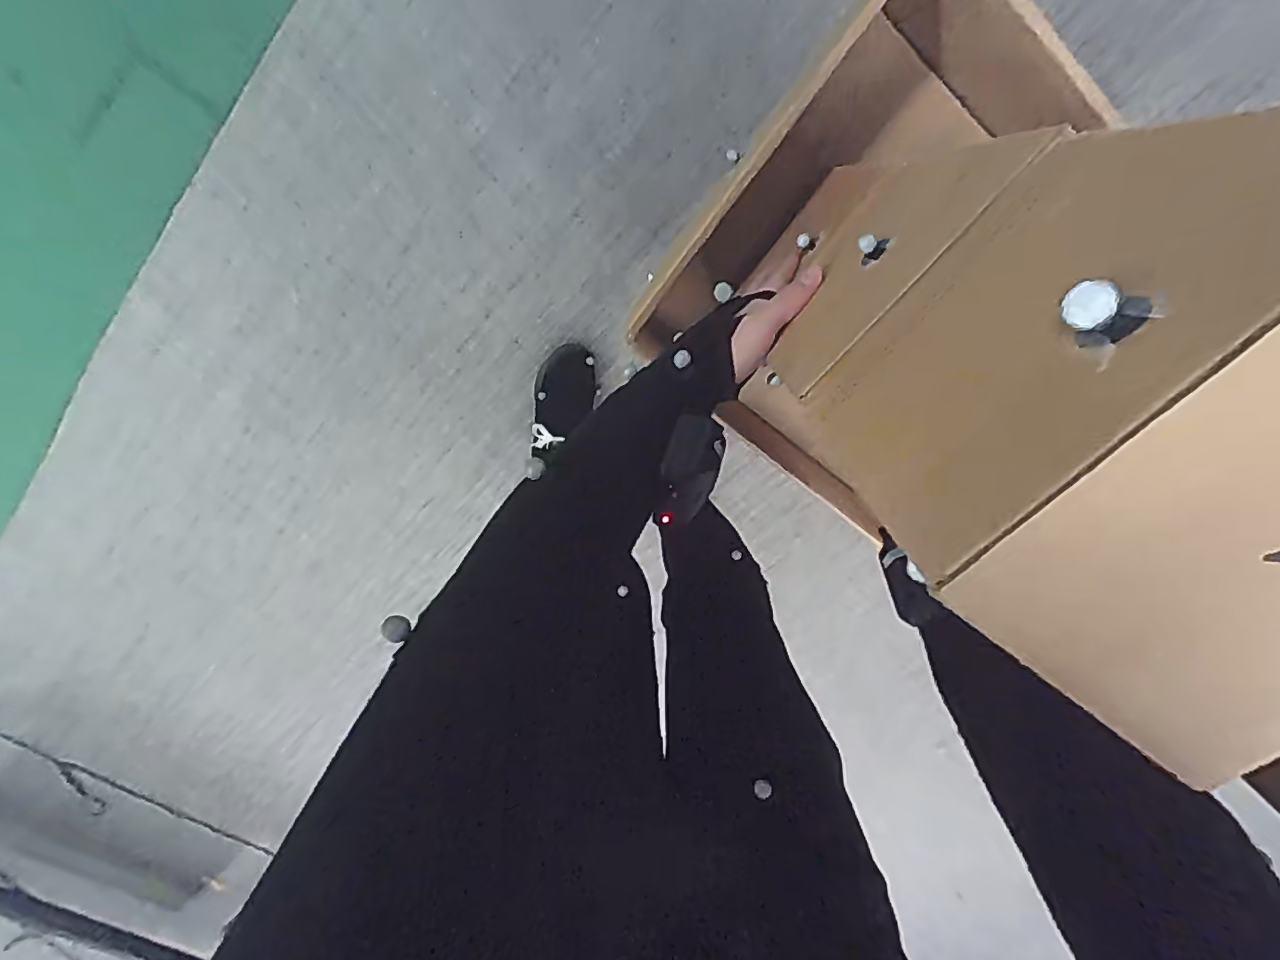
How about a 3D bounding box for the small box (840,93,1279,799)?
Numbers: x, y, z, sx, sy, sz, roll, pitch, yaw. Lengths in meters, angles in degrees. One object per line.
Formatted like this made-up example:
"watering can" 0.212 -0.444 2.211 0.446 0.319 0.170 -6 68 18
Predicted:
"small box" 0.209 -0.020 0.224 0.168 0.176 0.179 35 111 -16
